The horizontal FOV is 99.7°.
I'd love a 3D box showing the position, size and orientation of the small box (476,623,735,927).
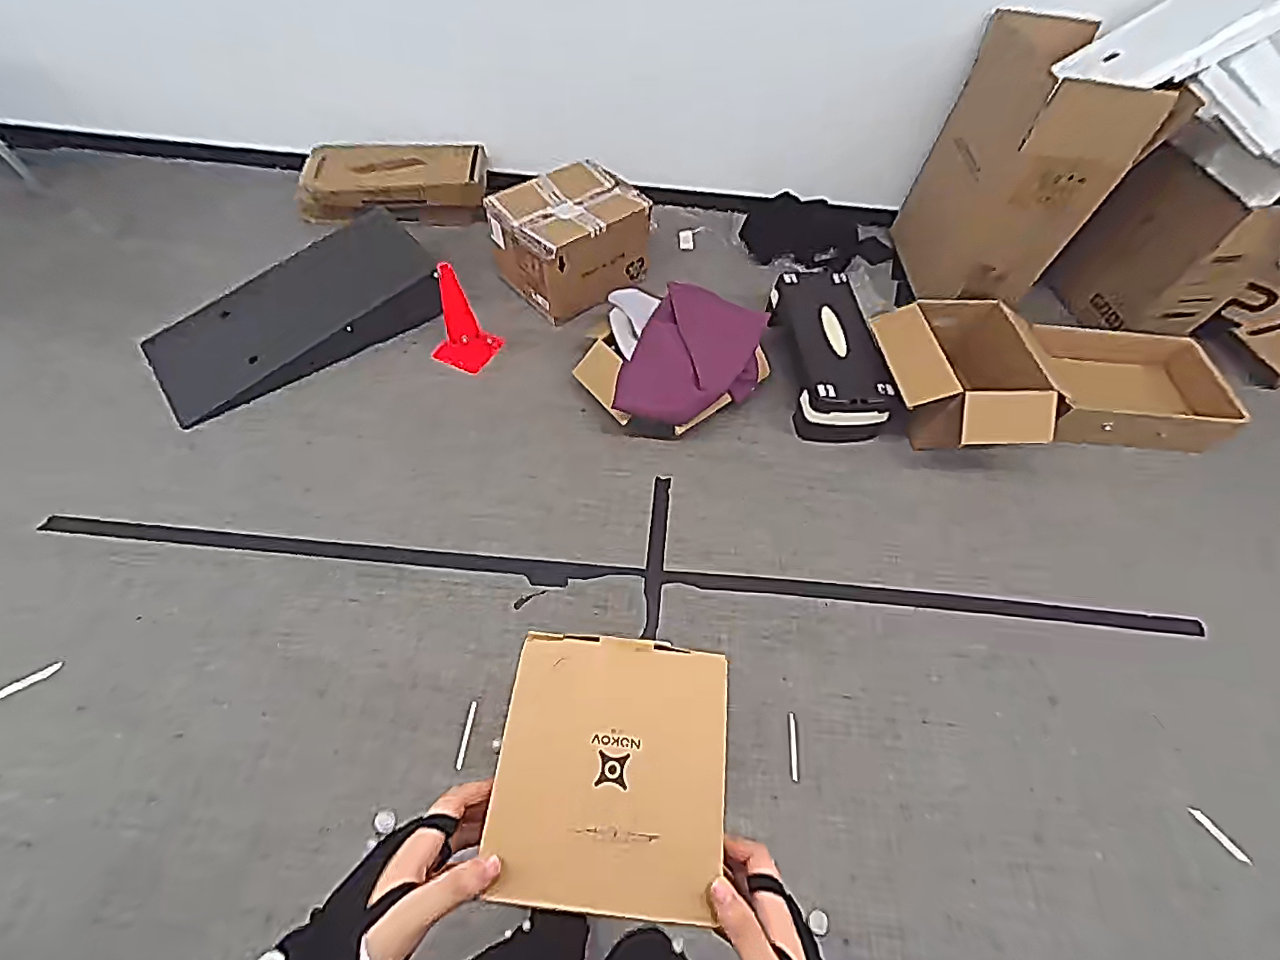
[{"bbox_3d":[-0.022,0.239,0.456,0.168,0.176,0.179,8,60,0],"label":"small box"}]
